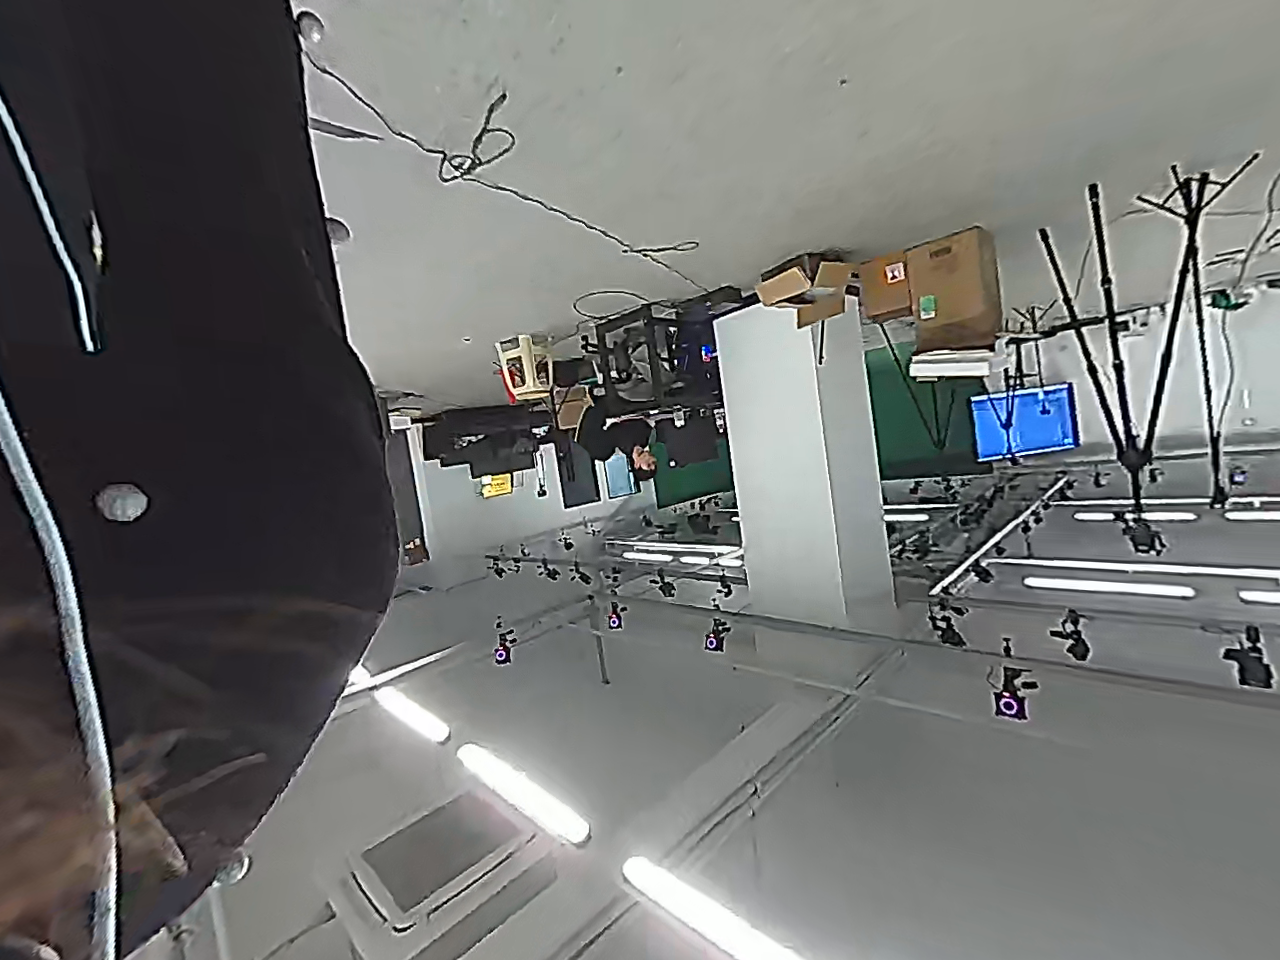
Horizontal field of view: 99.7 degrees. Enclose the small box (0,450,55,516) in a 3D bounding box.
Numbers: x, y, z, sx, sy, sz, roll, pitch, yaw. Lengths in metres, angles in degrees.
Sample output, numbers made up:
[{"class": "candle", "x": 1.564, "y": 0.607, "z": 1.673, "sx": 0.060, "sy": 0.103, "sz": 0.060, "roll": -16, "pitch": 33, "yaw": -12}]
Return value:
[{"class": "small box", "x": -1.808, "y": 0.012, "z": 1.536, "sx": 0.168, "sy": 0.176, "sz": 0.179, "roll": -4, "pitch": -174, "yaw": 44}]
